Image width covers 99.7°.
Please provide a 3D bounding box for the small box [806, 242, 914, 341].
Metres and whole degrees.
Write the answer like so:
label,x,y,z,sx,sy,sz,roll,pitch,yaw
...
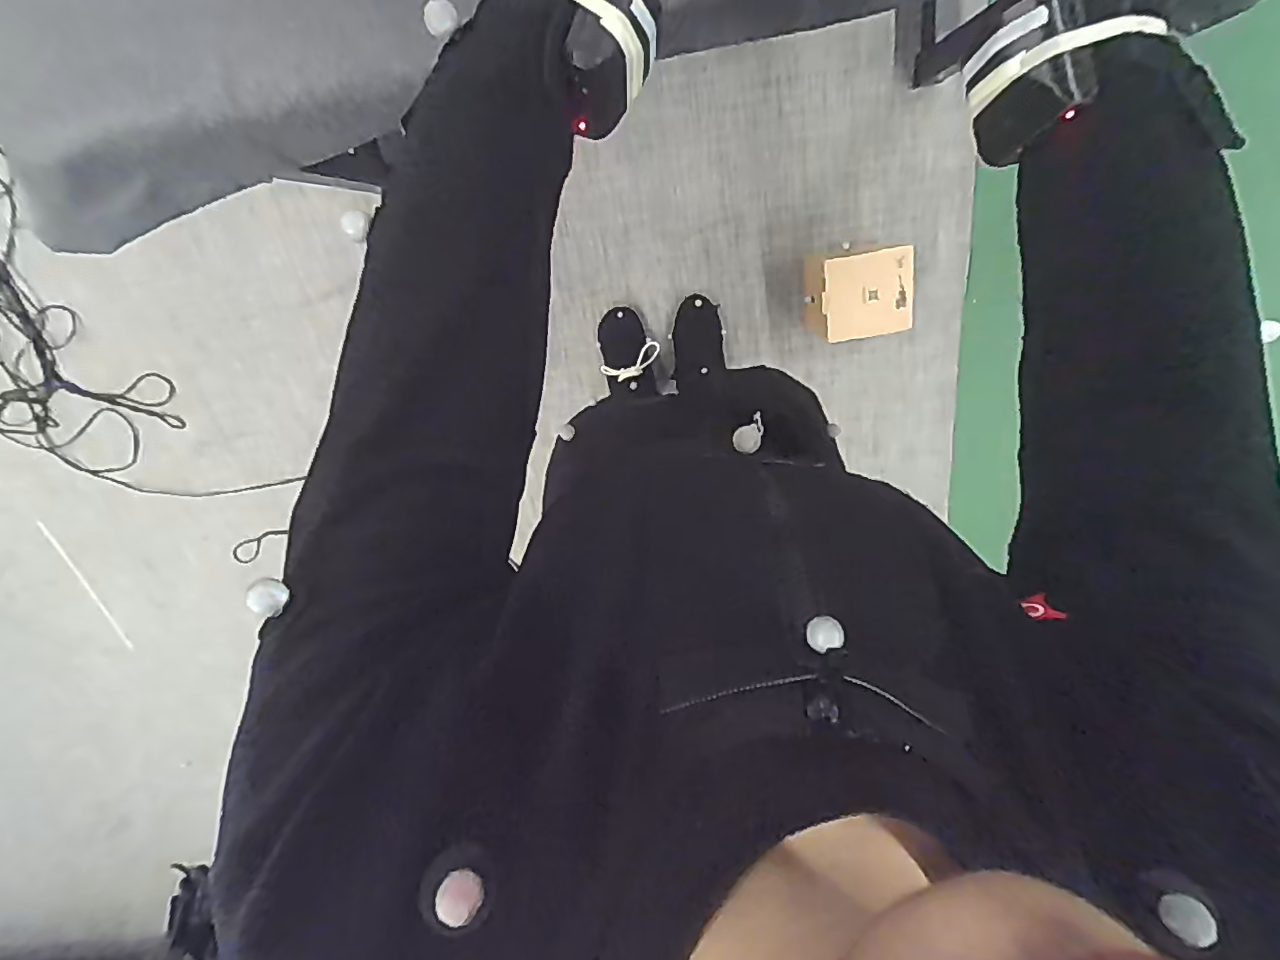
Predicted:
label,x,y,z,sx,sy,sz,roll,pitch,yaw
small box,0.460,-0.402,1.153,0.179,0.176,0.168,-9,112,6
